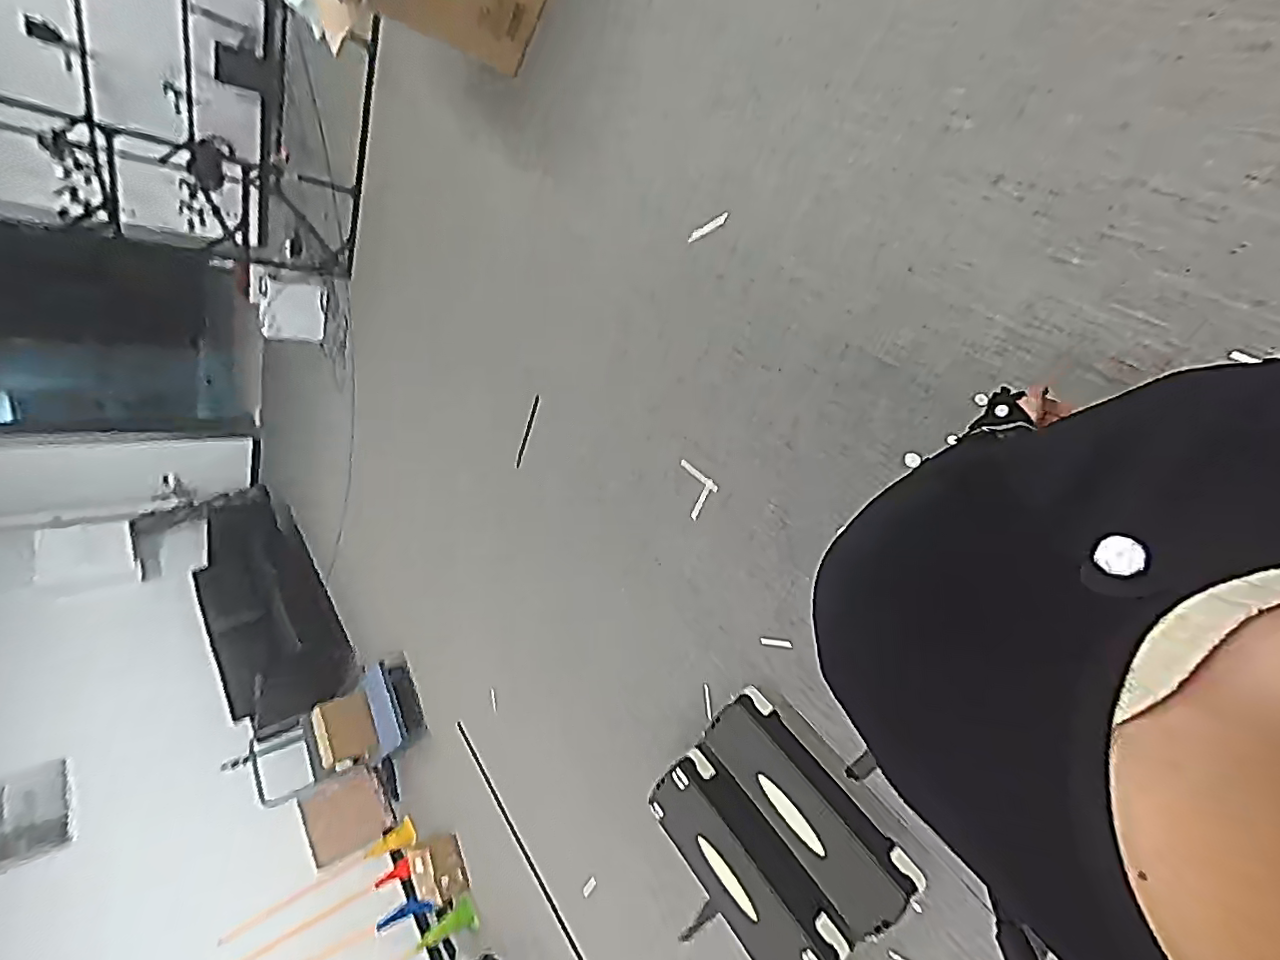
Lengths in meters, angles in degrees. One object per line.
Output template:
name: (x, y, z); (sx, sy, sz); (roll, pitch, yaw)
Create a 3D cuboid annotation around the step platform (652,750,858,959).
step platform: (0.326, 1.234, 1.685); (0.684, 0.204, 0.286); (51, 126, 31)
